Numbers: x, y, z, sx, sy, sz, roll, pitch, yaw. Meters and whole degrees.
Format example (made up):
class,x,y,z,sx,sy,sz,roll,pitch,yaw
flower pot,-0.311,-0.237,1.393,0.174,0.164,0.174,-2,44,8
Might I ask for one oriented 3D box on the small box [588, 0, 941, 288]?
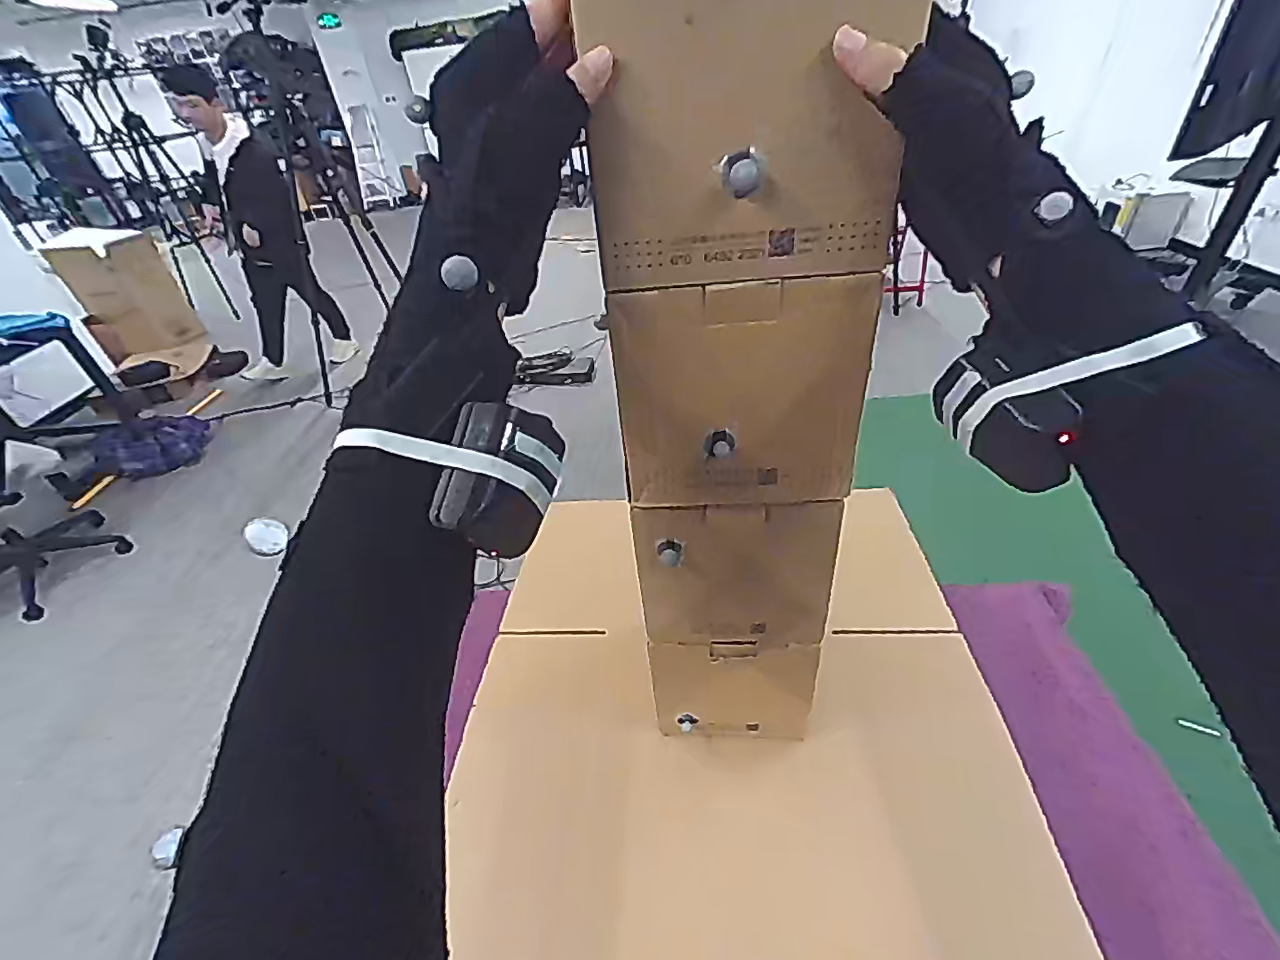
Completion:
class,x,y,z,sx,sy,sz,roll,pitch,yaw
small box,0.062,-0.230,0.341,0.168,0.176,0.179,-2,36,5

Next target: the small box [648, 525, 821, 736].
class,x,y,z,sx,sy,sz,roll,pitch,yaw
small box,0.100,0.175,0.620,0.168,0.176,0.179,-3,37,4

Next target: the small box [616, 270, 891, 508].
class,x,y,z,sx,sy,sz,roll,pitch,yaw
small box,0.075,-0.095,0.434,0.168,0.176,0.179,-2,35,4
